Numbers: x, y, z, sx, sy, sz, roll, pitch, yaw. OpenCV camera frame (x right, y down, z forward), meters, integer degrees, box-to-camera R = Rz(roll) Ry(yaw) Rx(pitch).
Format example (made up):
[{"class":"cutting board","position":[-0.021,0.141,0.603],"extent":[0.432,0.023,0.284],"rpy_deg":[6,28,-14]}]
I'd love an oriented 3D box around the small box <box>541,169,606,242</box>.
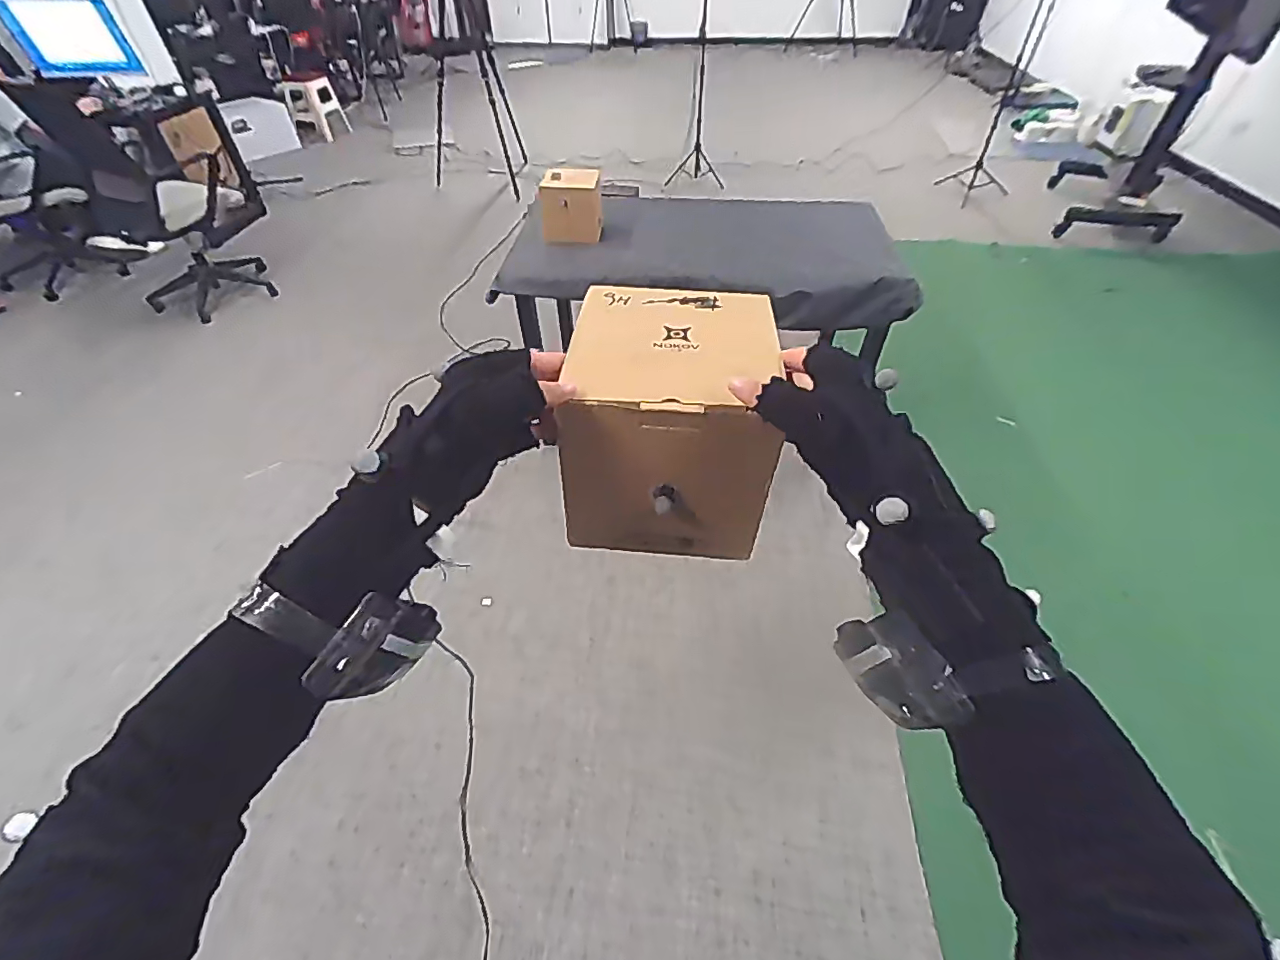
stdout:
[{"class":"small box","position":[-0.209,-0.885,1.744],"extent":[0.179,0.176,0.168],"rpy_deg":[3,47,2]}]

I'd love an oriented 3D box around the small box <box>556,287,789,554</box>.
[{"class":"small box","position":[0.028,-0.051,0.486],"extent":[0.168,0.176,0.179],"rpy_deg":[4,46,2]}]
